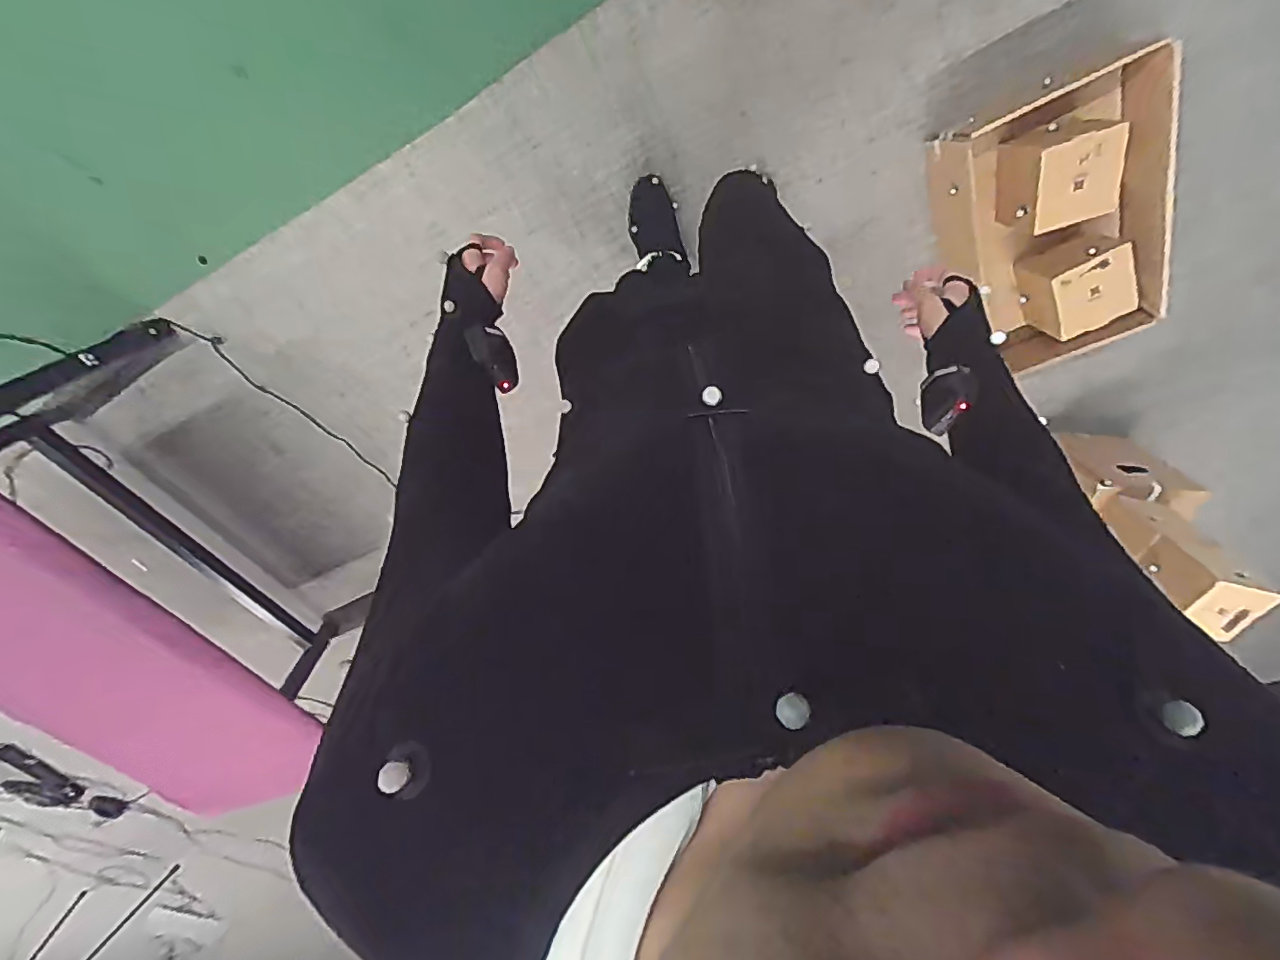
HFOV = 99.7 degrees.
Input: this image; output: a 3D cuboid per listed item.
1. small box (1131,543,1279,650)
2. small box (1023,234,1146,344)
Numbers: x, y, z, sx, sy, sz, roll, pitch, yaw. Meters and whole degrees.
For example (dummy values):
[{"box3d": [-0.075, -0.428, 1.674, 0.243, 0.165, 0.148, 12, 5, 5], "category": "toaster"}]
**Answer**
[{"box3d": [1.356, 0.273, 1.289, 0.179, 0.176, 0.168, 13, 123, -5], "category": "small box"}, {"box3d": [1.074, -0.468, 1.314, 0.168, 0.176, 0.179, -26, 119, 18], "category": "small box"}]
